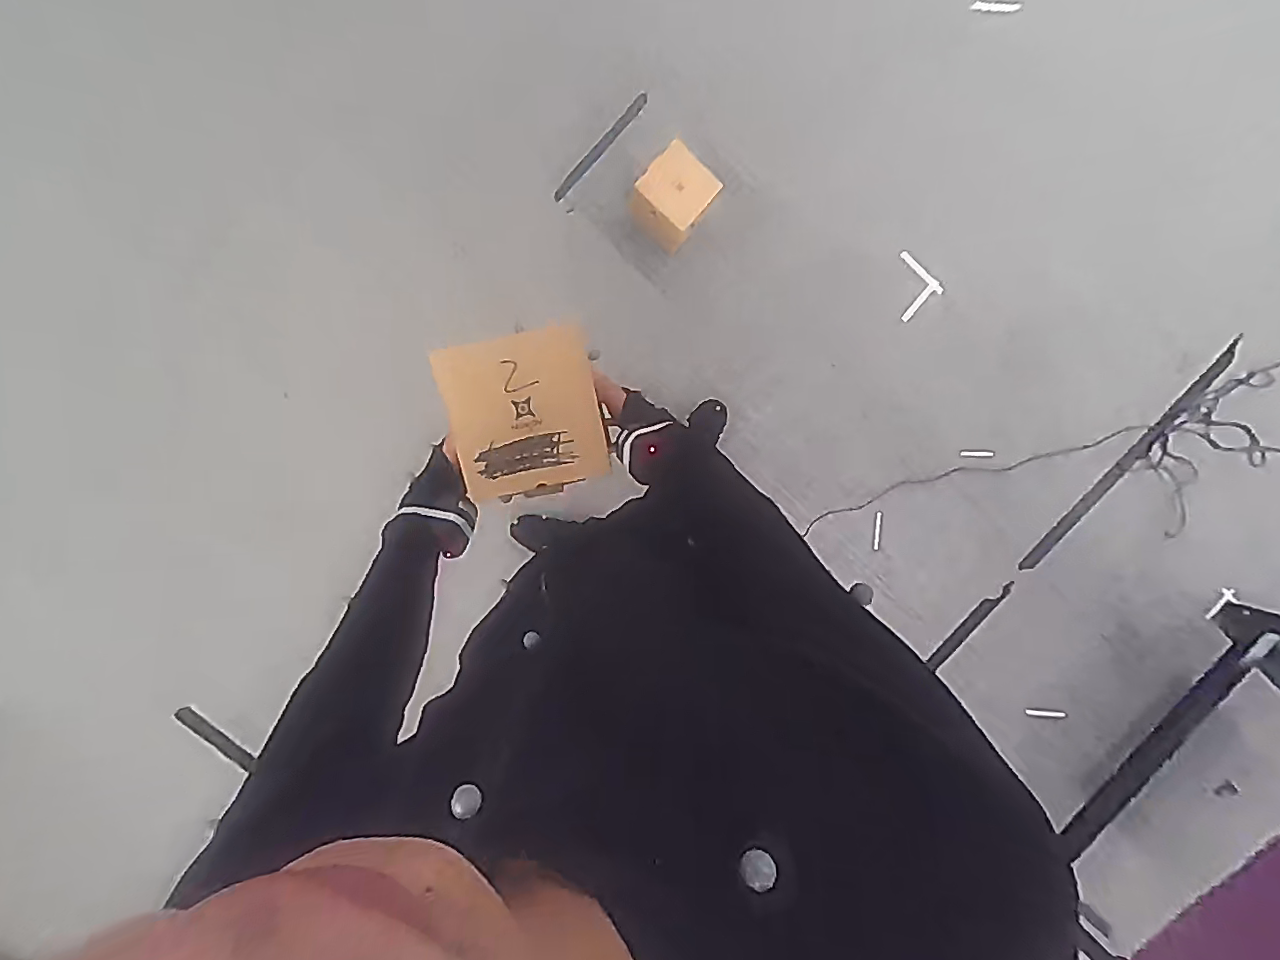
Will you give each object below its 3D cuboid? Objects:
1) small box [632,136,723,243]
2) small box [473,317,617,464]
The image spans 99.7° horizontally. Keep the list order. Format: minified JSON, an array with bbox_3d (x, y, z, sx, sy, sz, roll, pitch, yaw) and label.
[{"bbox_3d":[0.096,-0.777,1.474,0.179,0.176,0.168,41,91,-6],"label":"small box"},{"bbox_3d":[-0.139,-0.140,0.828,0.168,0.176,0.179,-14,106,-2],"label":"small box"}]
